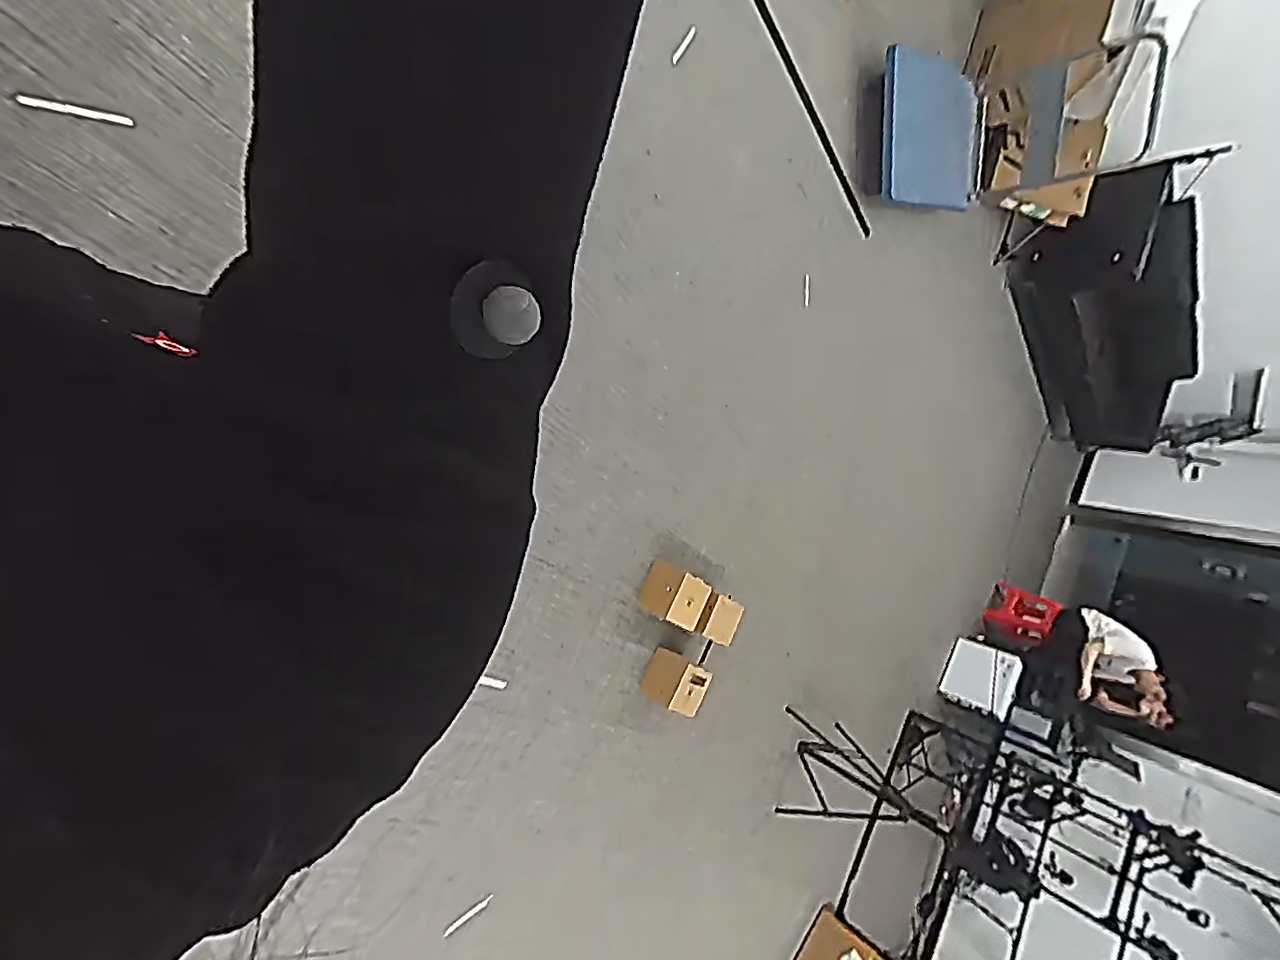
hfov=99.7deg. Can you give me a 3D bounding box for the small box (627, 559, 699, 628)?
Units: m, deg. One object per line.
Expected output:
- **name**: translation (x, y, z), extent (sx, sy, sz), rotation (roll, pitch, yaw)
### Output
- **small box**: translation (0.078, 0.412, 1.975), extent (0.168, 0.176, 0.179), rotation (37, 74, -40)
